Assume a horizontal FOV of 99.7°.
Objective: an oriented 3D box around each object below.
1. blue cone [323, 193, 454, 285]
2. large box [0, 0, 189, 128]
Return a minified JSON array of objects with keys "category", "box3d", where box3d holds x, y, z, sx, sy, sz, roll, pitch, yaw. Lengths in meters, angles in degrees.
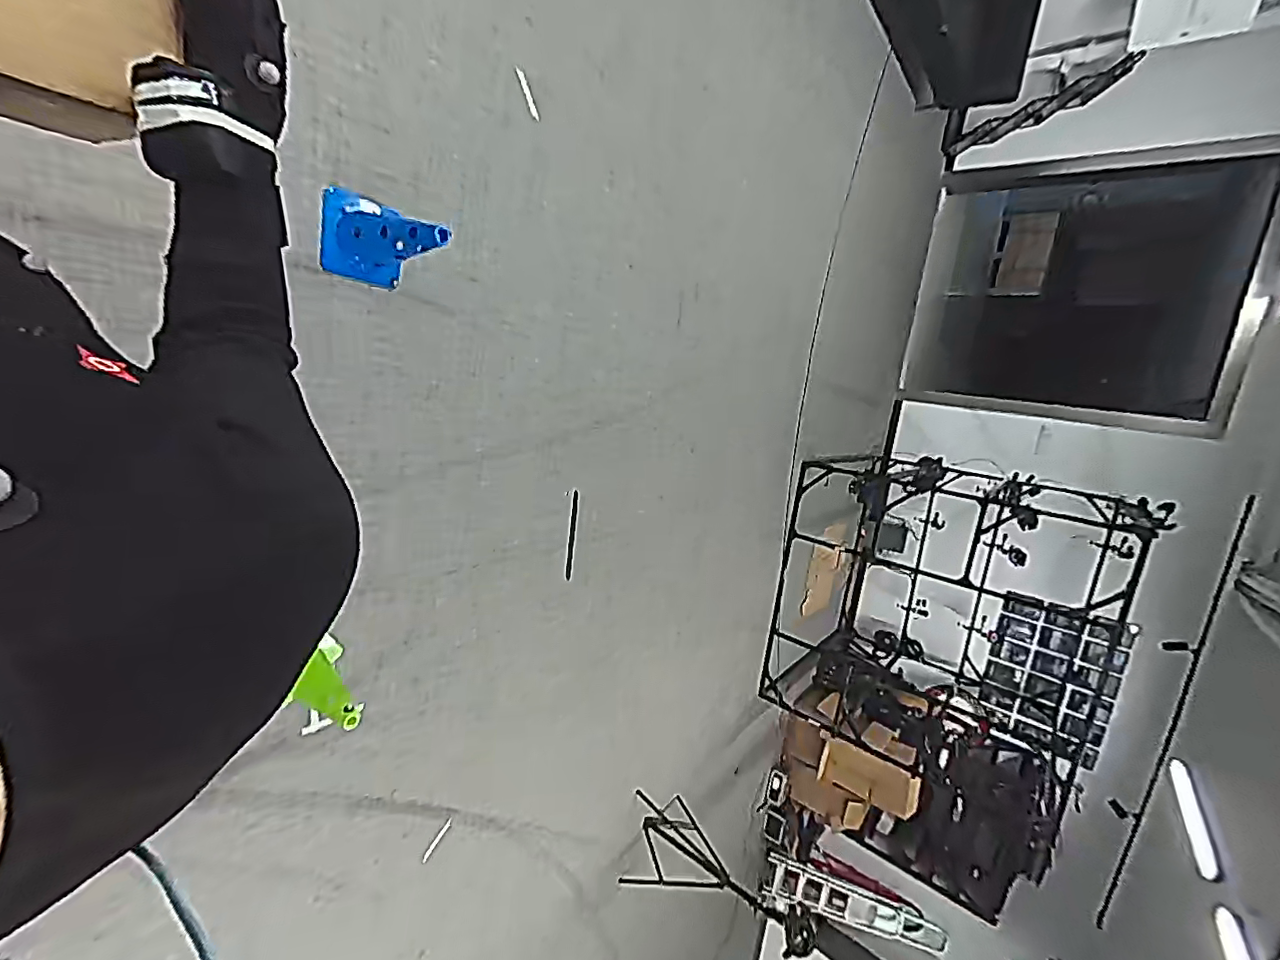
[{"category":"blue cone","box3d":[-0.580,-0.578,1.294,0.192,0.380,0.193,-1,104,-54]},{"category":"large box","box3d":[-0.542,-0.438,0.285,0.408,0.320,0.320,-9,117,-53]}]
